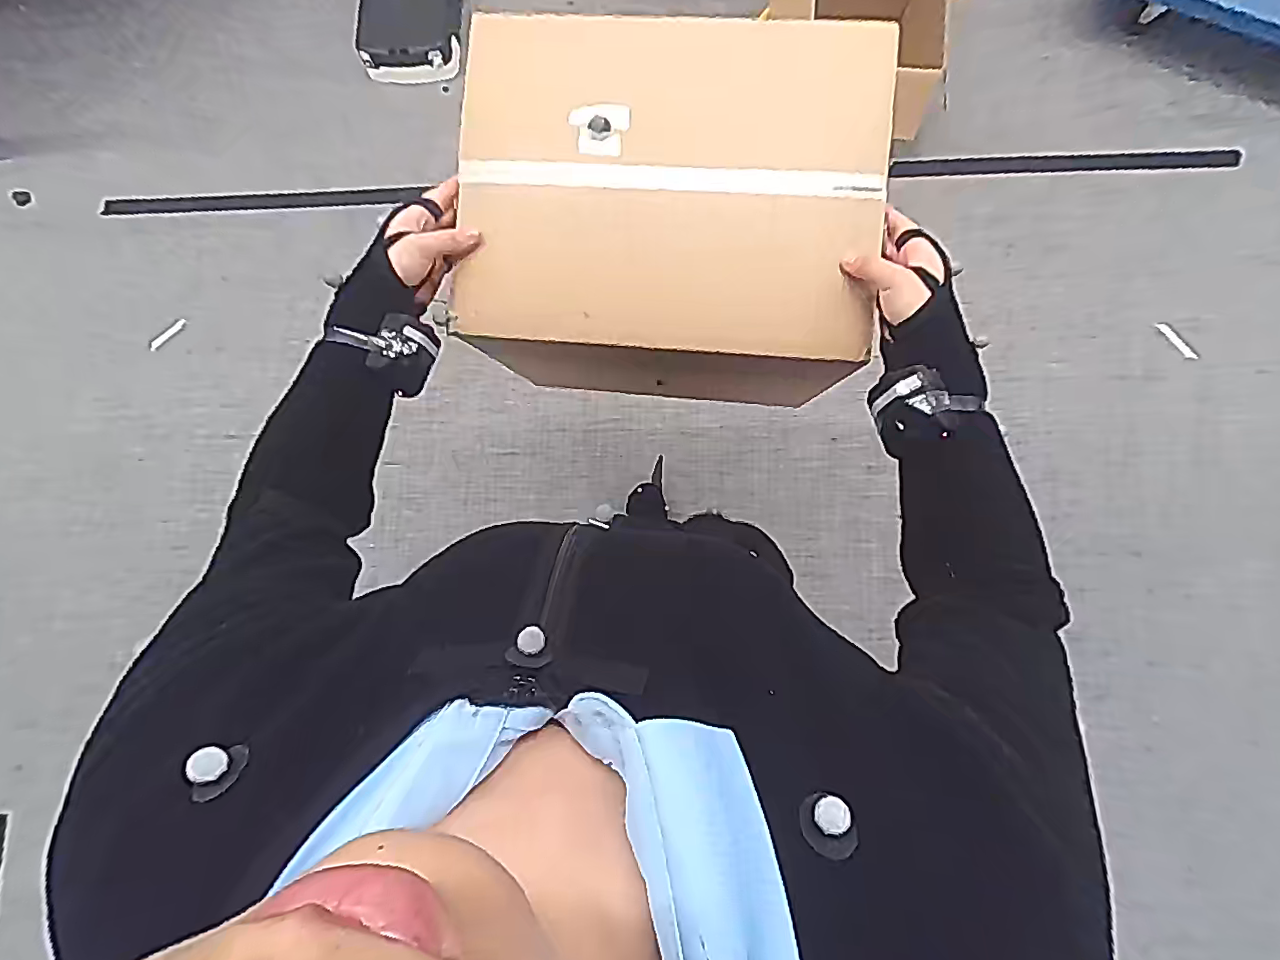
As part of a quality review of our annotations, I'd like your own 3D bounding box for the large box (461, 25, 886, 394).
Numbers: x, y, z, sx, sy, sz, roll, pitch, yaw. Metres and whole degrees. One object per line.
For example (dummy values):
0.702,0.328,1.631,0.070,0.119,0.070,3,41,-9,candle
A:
0.041,-0.287,0.673,0.408,0.320,0.320,4,90,5,large box
